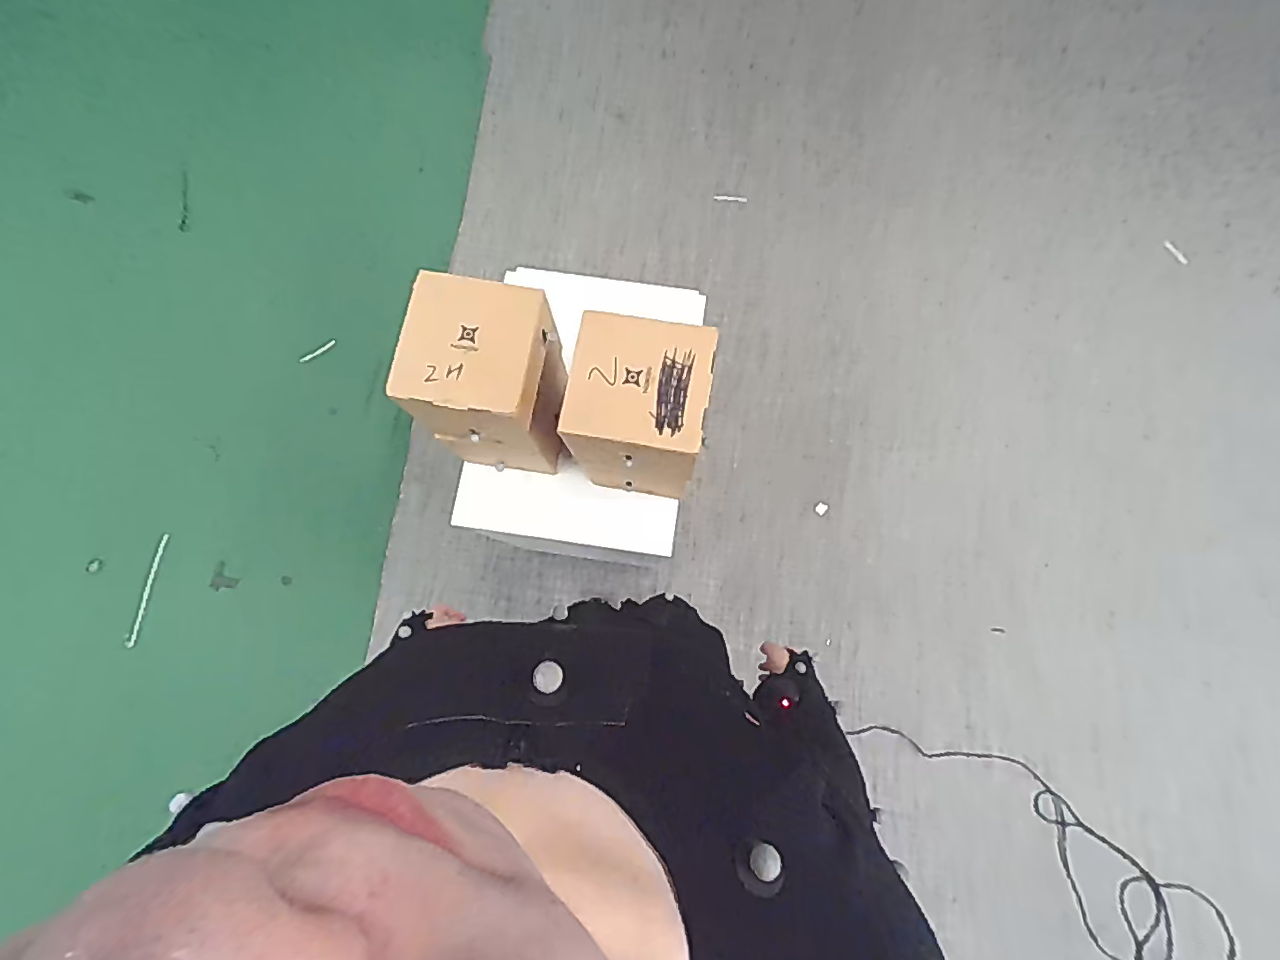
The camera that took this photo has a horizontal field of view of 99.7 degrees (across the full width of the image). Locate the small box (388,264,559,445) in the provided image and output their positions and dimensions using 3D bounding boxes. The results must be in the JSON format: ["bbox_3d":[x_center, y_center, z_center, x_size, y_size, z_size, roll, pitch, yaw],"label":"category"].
[{"bbox_3d":[-0.215,-0.164,0.753,0.168,0.176,0.179,10,79,2],"label":"small box"}]

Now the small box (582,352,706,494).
[{"bbox_3d":[0.008,-0.087,0.903,0.168,0.176,0.179,10,79,4],"label":"small box"}]

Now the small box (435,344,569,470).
[{"bbox_3d":[-0.220,-0.128,0.913,0.168,0.176,0.179,9,80,2],"label":"small box"}]
